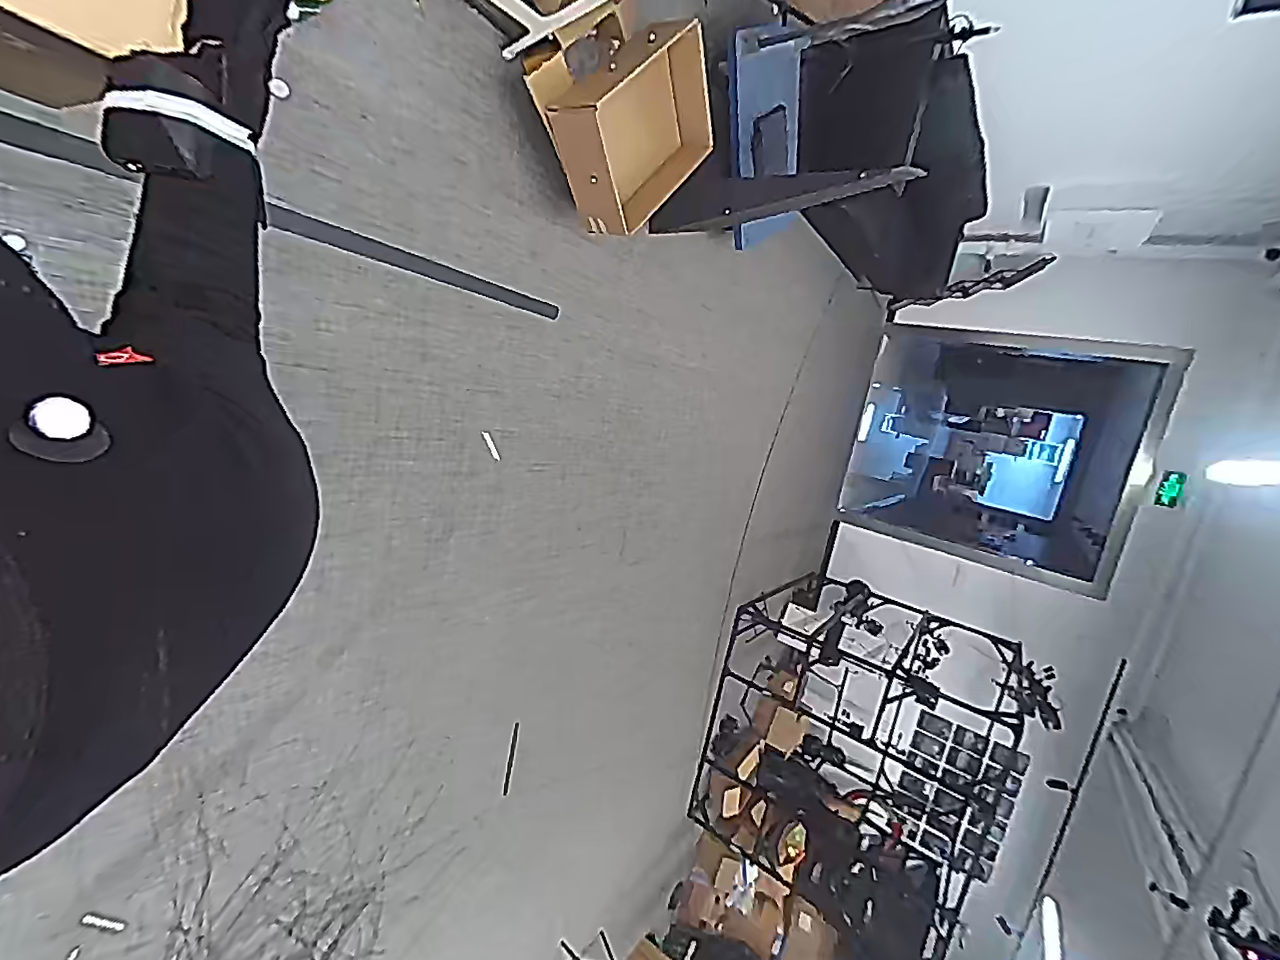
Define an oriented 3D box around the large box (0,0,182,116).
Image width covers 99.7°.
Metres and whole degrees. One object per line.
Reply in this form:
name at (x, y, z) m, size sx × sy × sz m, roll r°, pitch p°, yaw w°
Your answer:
large box at (-0.526, -0.451, 0.266) m, size 0.408 × 0.320 × 0.320 m, roll -3°, pitch 110°, yaw -59°
